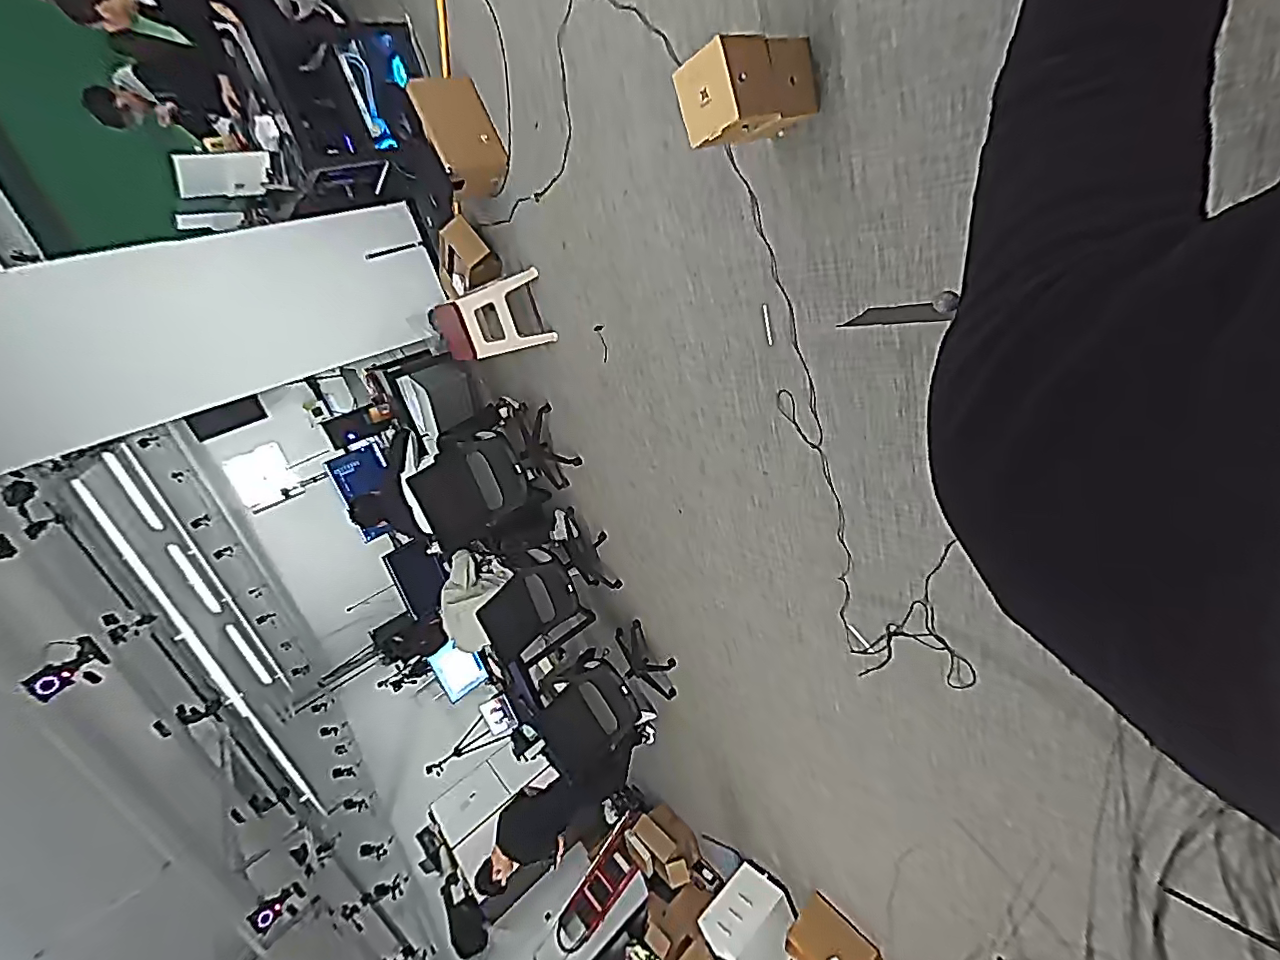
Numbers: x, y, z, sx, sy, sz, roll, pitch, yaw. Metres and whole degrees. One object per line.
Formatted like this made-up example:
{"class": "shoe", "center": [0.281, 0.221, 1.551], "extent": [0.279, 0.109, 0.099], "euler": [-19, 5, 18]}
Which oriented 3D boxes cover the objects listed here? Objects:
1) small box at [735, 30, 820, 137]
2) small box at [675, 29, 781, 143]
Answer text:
{"class": "small box", "center": [0.344, -1.028, 1.408], "extent": [0.168, 0.176, 0.179], "euler": [10, 125, 52]}
{"class": "small box", "center": [0.220, -0.962, 1.324], "extent": [0.168, 0.176, 0.179], "euler": [5, 119, 53]}
